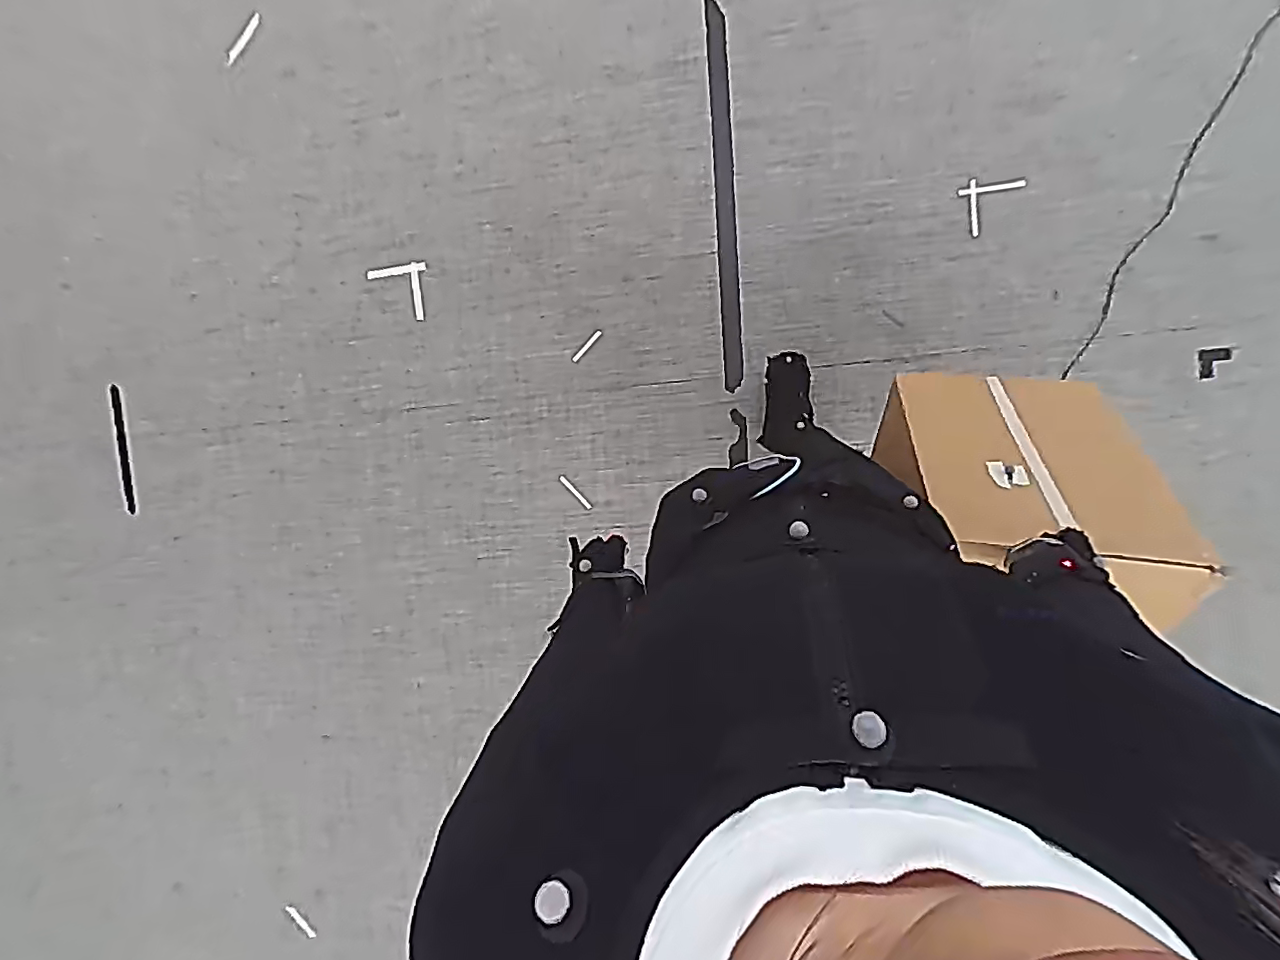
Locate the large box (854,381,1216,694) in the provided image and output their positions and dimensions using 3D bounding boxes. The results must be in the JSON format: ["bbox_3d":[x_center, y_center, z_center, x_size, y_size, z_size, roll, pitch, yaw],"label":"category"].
[{"bbox_3d":[0.568,0.078,0.900,0.320,0.408,0.320,4,133,10],"label":"large box"}]
